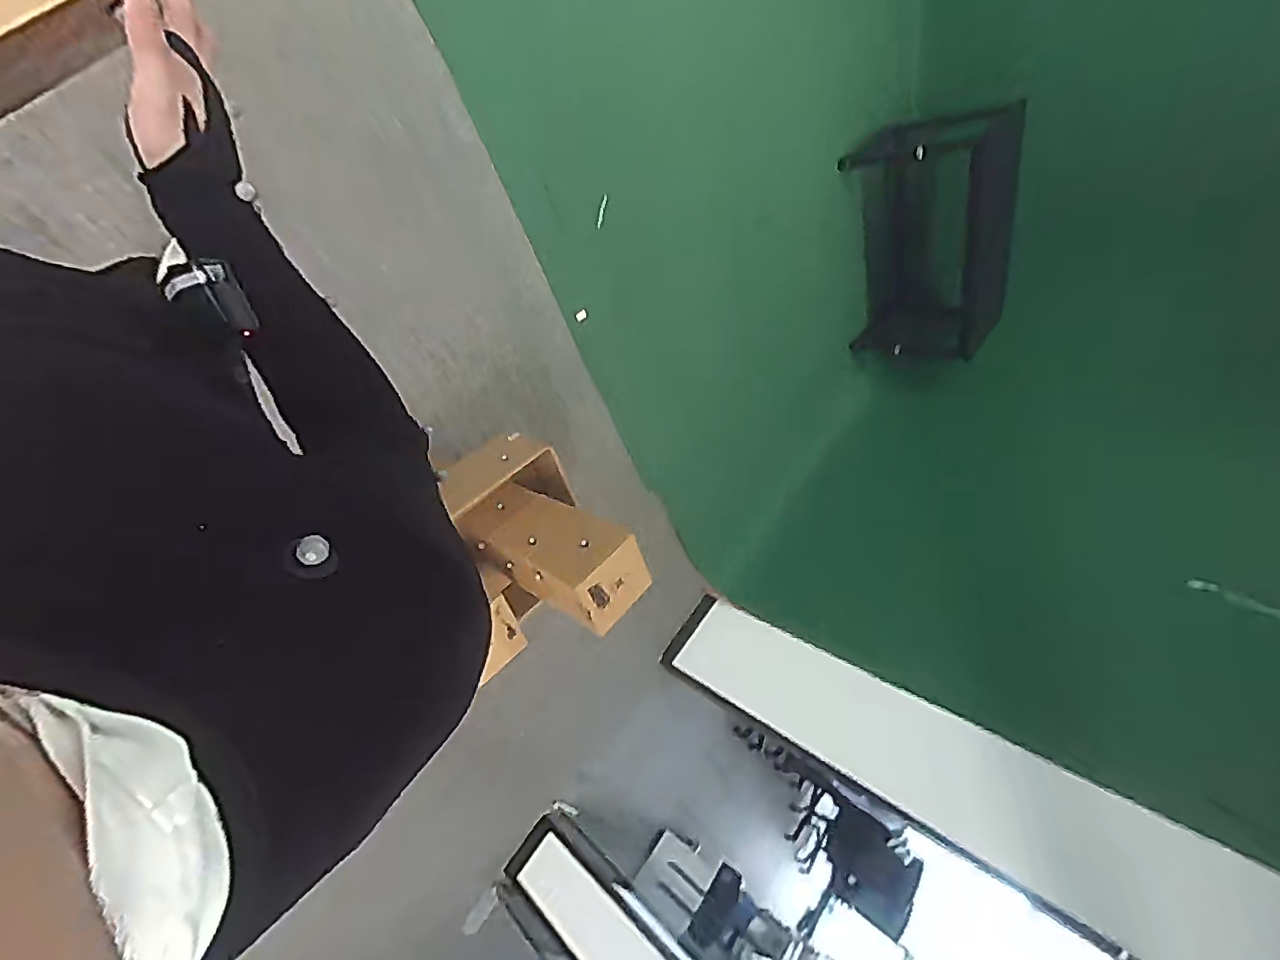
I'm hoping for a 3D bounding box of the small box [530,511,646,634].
[{"bbox_3d":[-0.121,0.199,1.203,0.179,0.176,0.168,-41,131,-27],"label":"small box"}]
